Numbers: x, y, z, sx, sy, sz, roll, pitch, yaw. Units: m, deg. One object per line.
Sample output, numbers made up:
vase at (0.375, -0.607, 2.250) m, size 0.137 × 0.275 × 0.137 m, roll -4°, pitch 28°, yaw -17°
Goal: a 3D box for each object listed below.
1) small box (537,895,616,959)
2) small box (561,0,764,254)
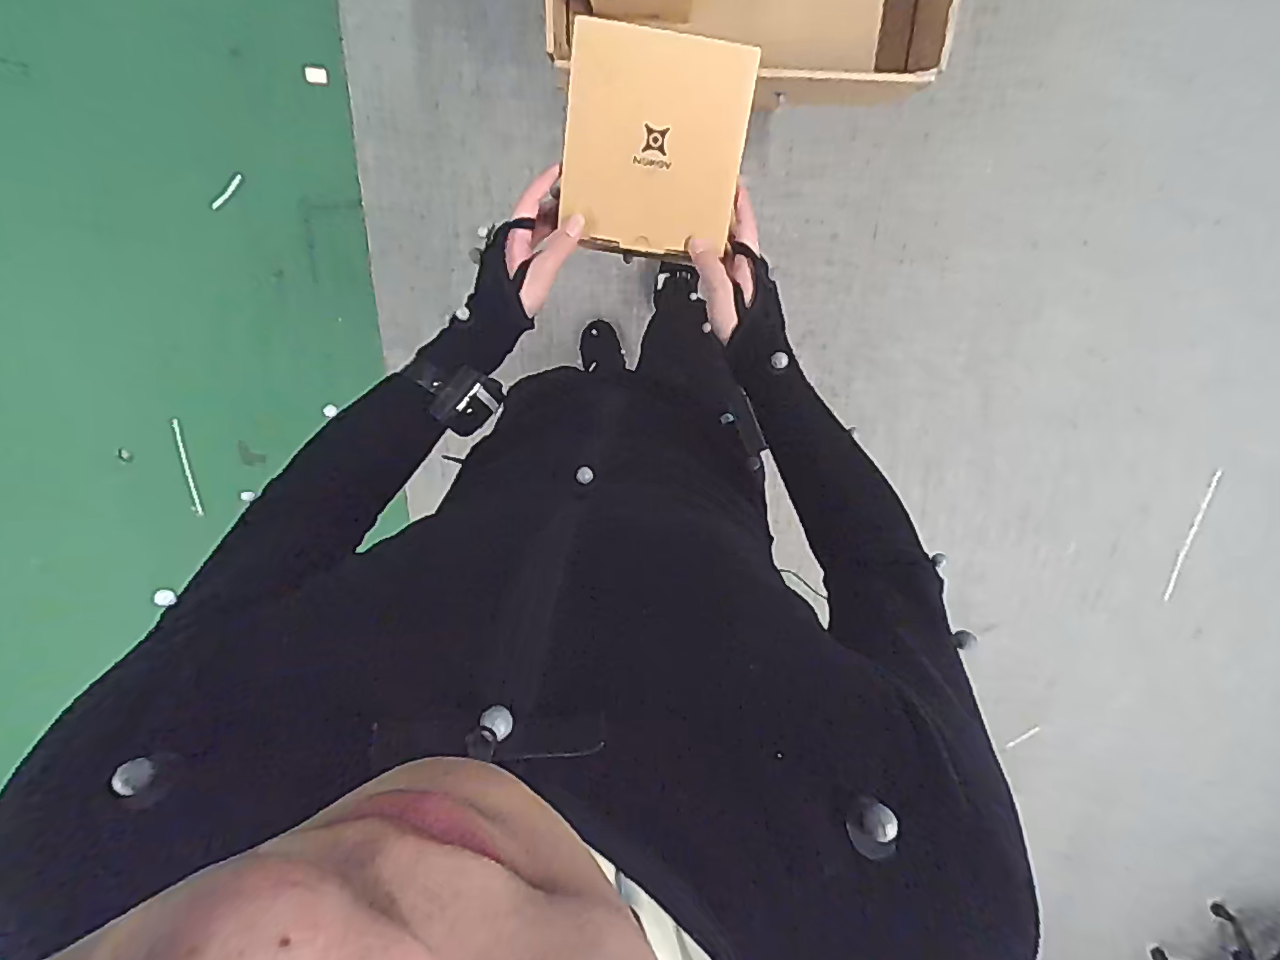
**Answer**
small box at (-0.141, 1.083, 1.221) m, size 0.168 × 0.176 × 0.179 m, roll 1°, pitch 113°, yaw -2°
small box at (0.014, -0.345, 0.566) m, size 0.168 × 0.176 × 0.179 m, roll 7°, pitch 111°, yaw -4°
